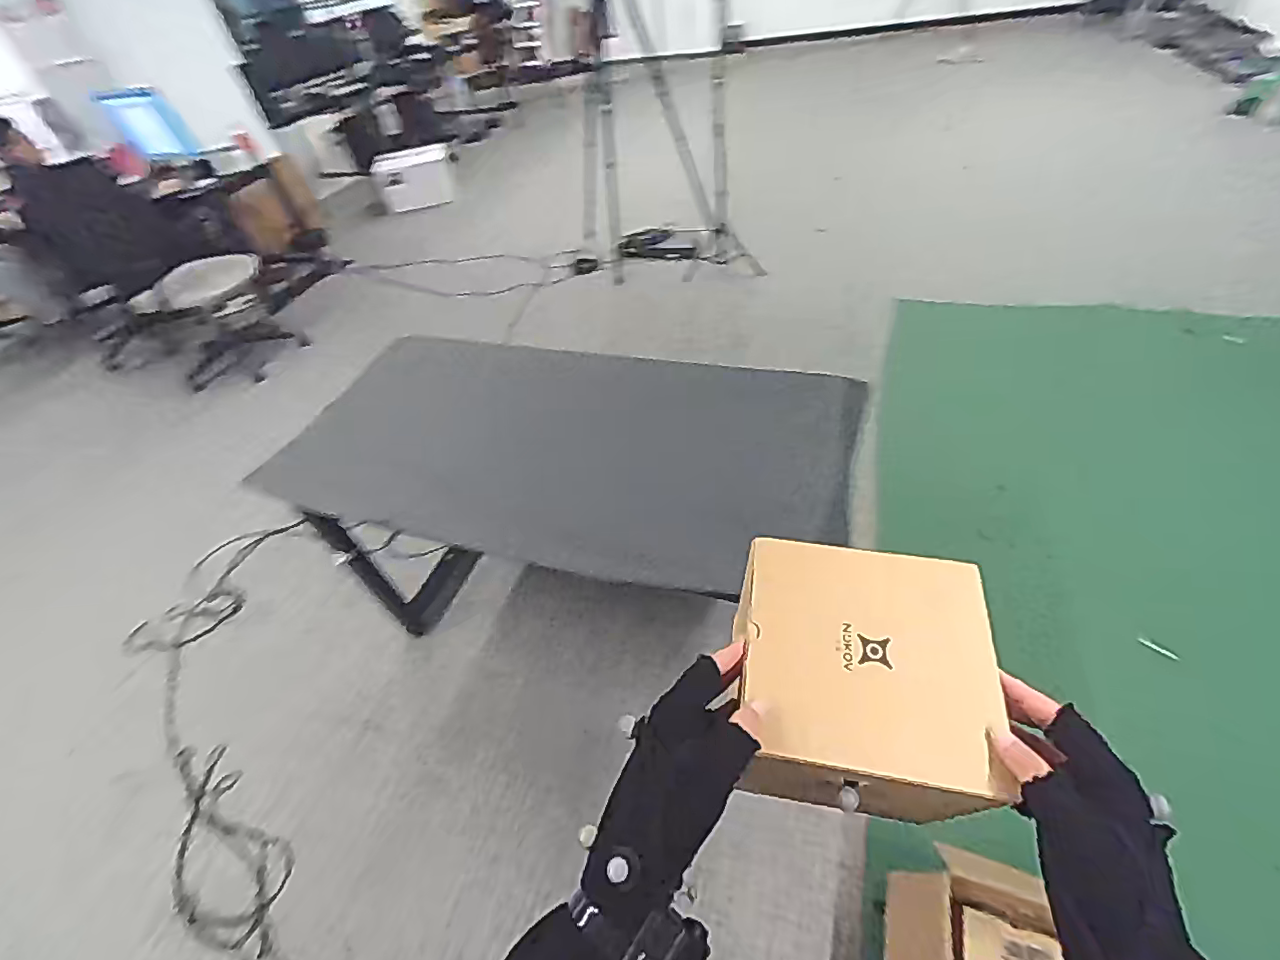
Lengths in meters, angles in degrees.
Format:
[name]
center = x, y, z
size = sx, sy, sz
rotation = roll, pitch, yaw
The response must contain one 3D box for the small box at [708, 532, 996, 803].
[small box]
center = 0.152, 0.162, 0.454
size = 0.179, 0.176, 0.168
rotation = 4, 55, 9
